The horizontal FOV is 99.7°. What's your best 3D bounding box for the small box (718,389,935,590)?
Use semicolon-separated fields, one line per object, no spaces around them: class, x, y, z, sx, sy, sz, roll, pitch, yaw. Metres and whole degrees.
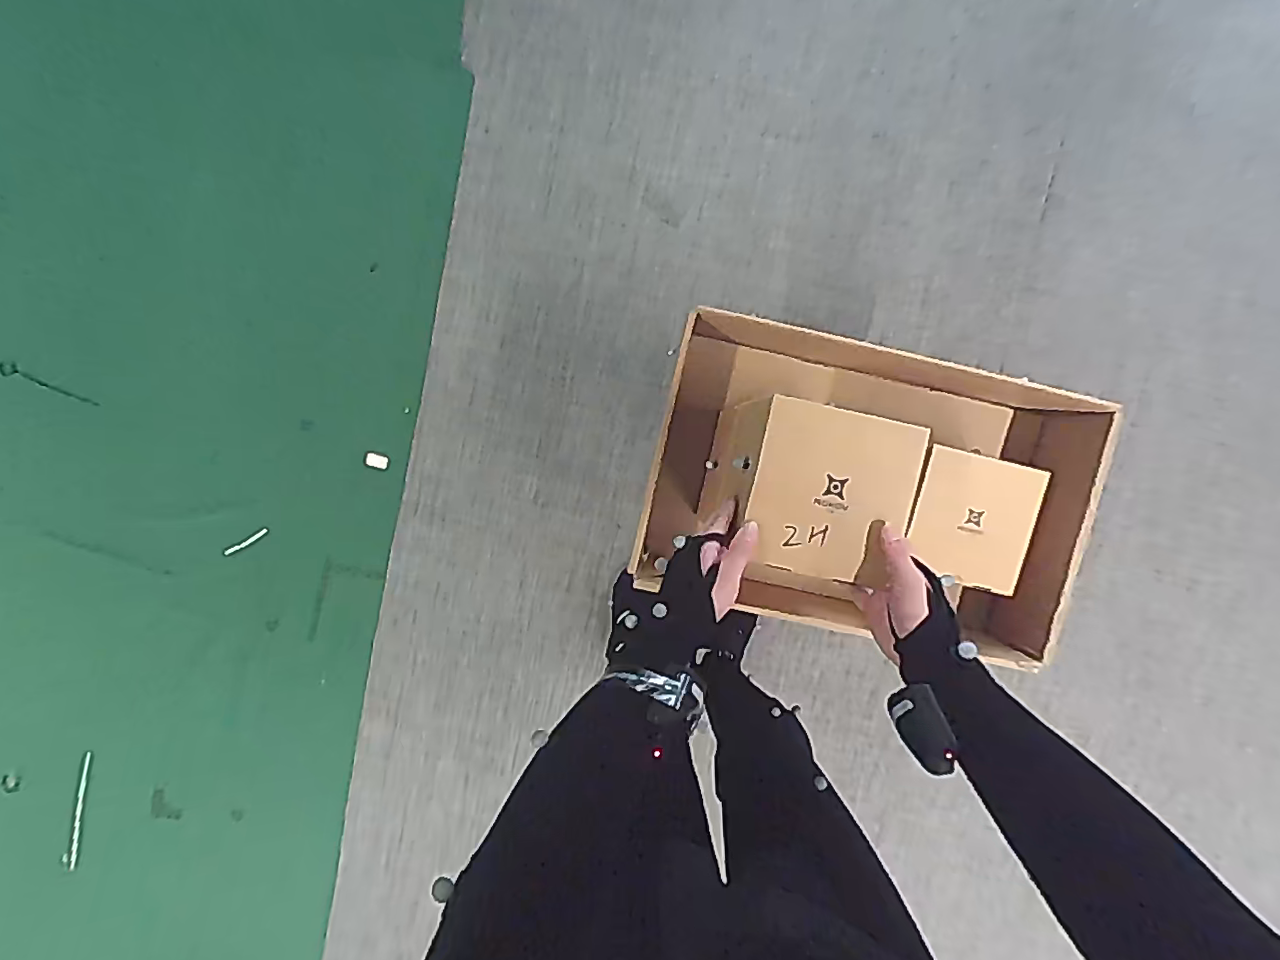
small box;0.196;0.005;0.623;0.168;0.176;0.179;13;95;-2
